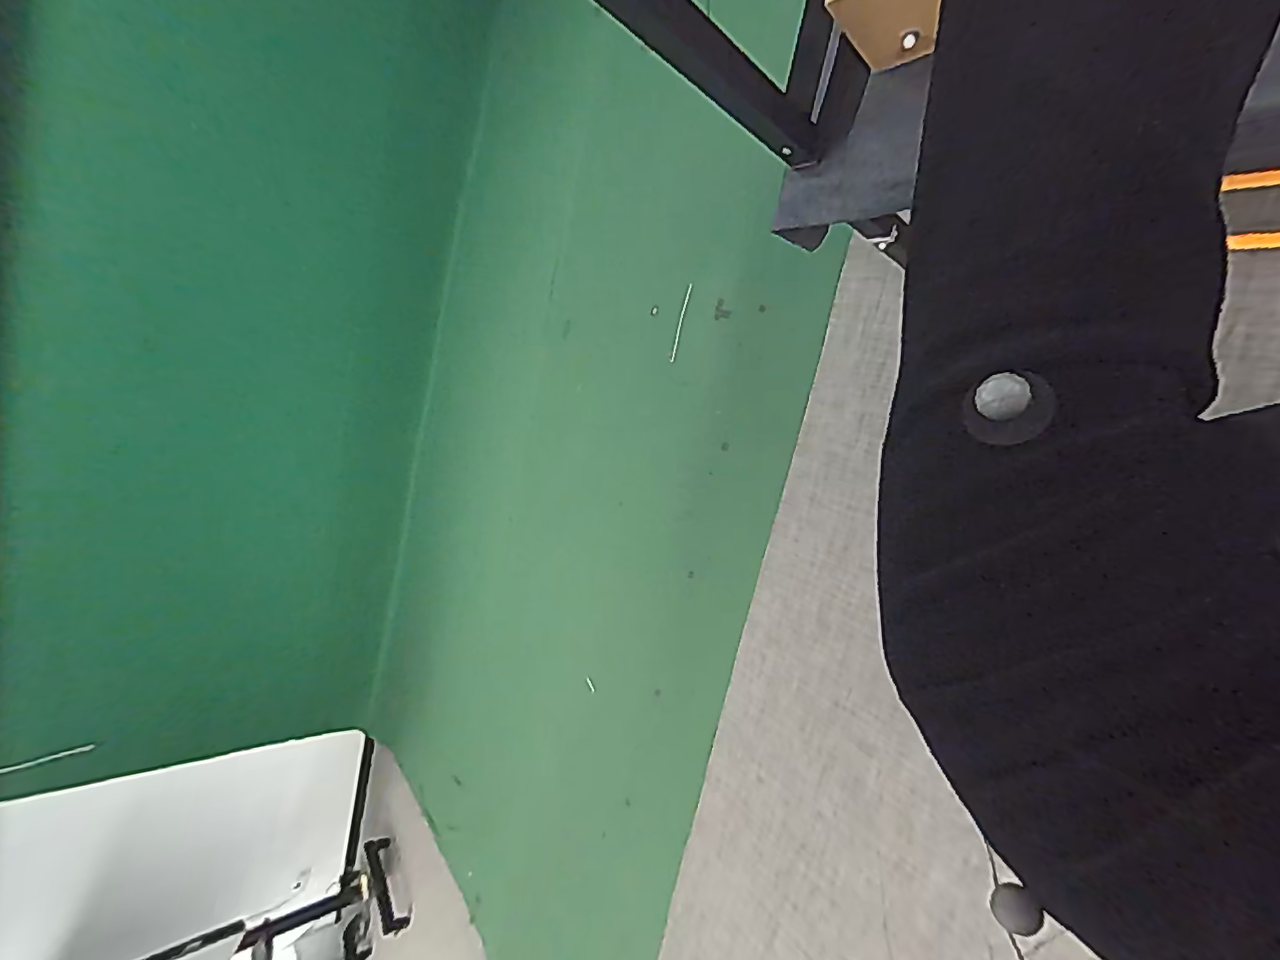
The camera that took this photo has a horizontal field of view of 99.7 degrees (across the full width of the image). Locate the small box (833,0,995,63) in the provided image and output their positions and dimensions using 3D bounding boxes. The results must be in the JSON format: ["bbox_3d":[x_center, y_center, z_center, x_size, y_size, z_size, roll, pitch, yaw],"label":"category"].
[{"bbox_3d":[0.384,-0.729,0.736,0.168,0.176,0.179,17,99,48],"label":"small box"}]
